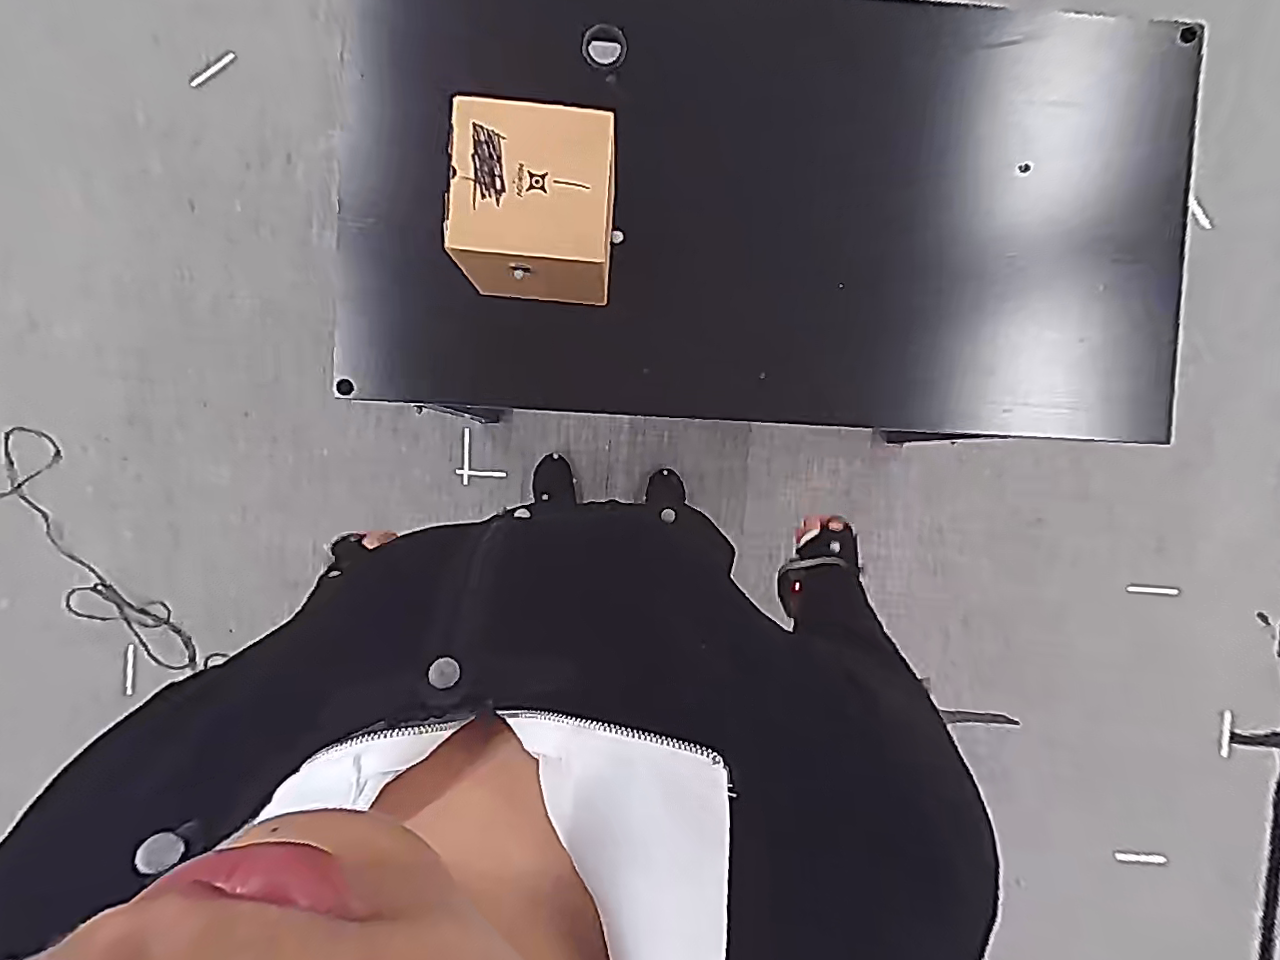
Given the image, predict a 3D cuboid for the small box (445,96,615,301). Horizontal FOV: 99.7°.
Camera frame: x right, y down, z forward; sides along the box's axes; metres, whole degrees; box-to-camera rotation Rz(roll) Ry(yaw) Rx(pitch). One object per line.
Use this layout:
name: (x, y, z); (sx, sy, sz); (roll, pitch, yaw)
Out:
small box: (-0.124, -0.333, 0.672); (0.179, 0.176, 0.168); (4, 92, -3)
